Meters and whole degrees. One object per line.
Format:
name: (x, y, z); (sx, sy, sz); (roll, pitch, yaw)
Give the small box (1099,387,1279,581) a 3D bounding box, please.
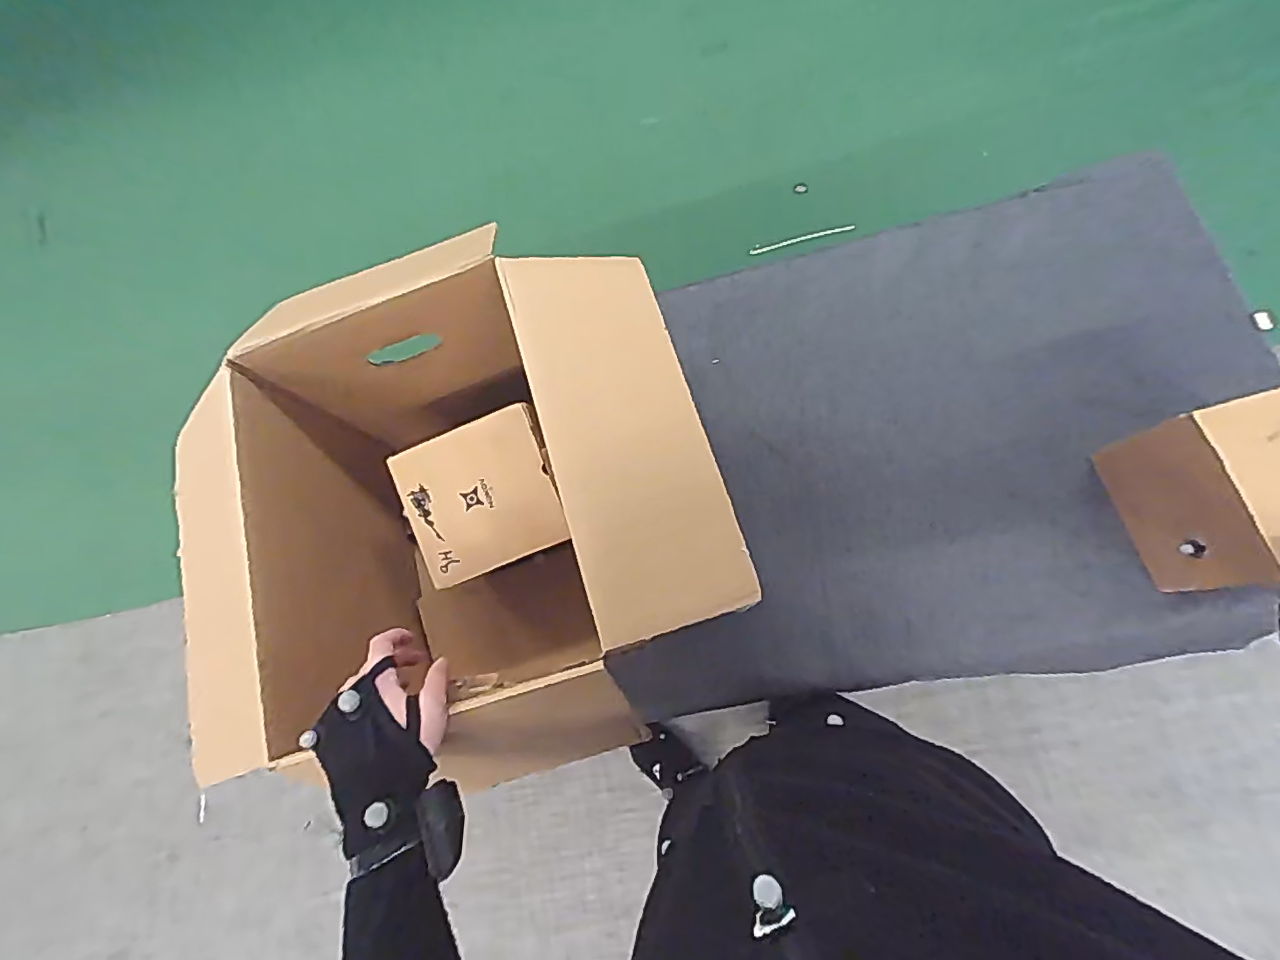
small box: (0.663, 0.008, 0.583); (0.168, 0.176, 0.179); (-16, 73, 6)
